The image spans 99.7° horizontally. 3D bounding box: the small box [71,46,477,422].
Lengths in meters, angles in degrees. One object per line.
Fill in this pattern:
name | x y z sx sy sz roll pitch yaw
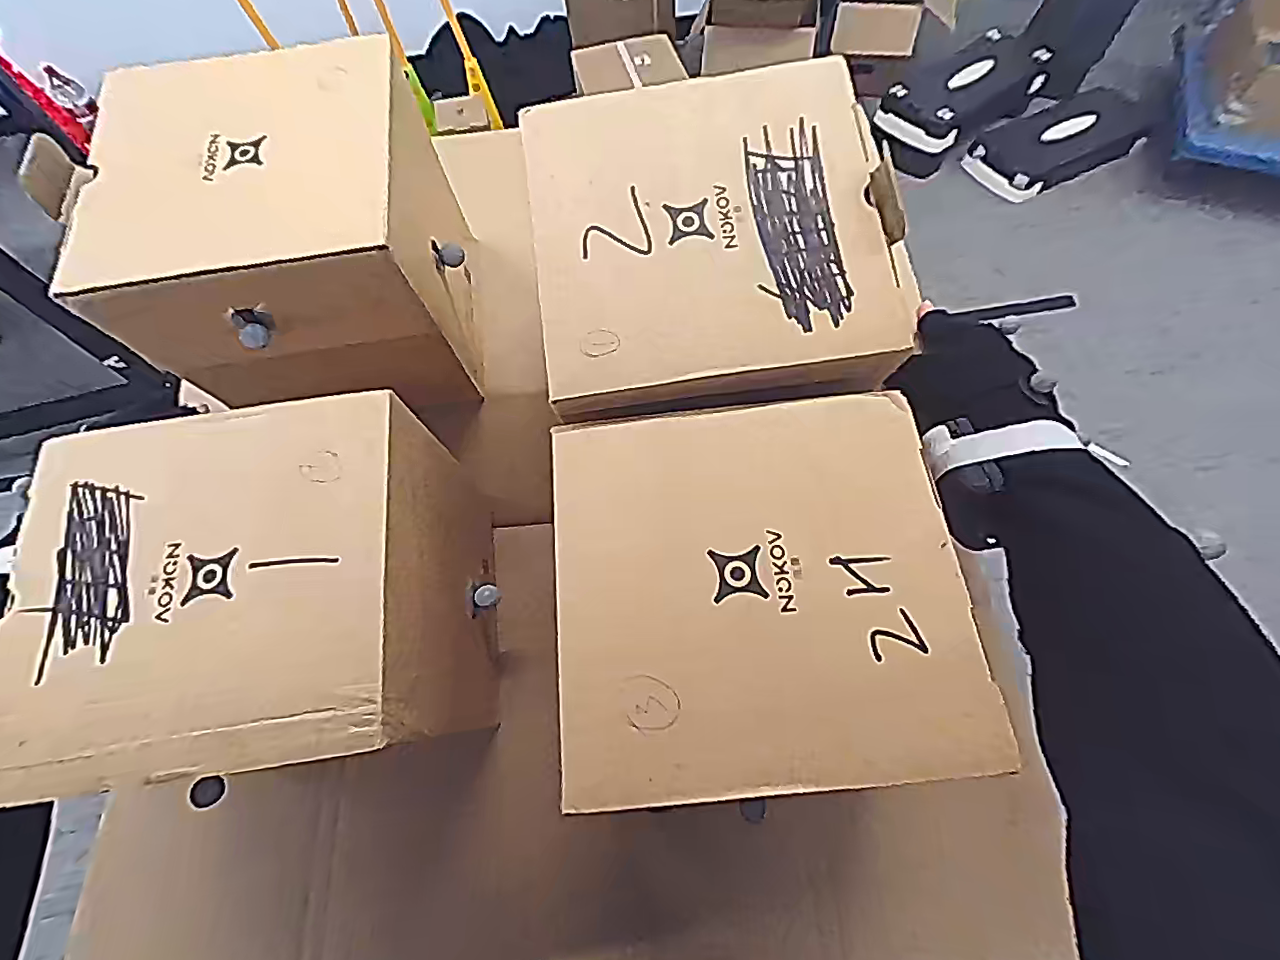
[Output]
small box | -0.224 -0.157 0.389 0.179 0.176 0.168 -9 70 0
